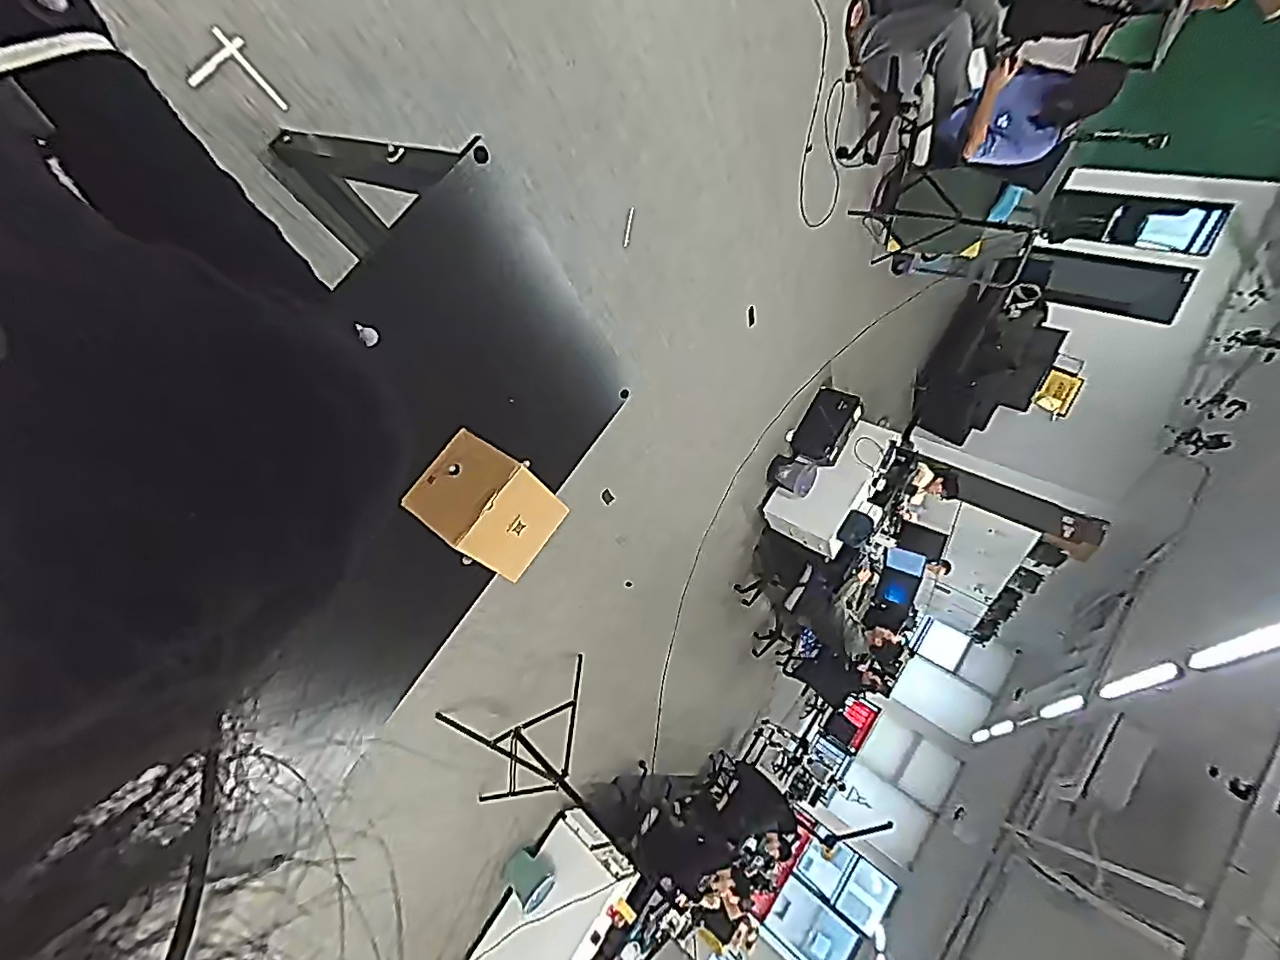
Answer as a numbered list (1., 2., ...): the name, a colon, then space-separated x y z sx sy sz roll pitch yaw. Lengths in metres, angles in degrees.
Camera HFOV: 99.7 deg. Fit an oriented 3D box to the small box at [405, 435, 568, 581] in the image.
1. small box: -0.266 0.045 0.949 0.168 0.176 0.179 -54 146 -12
